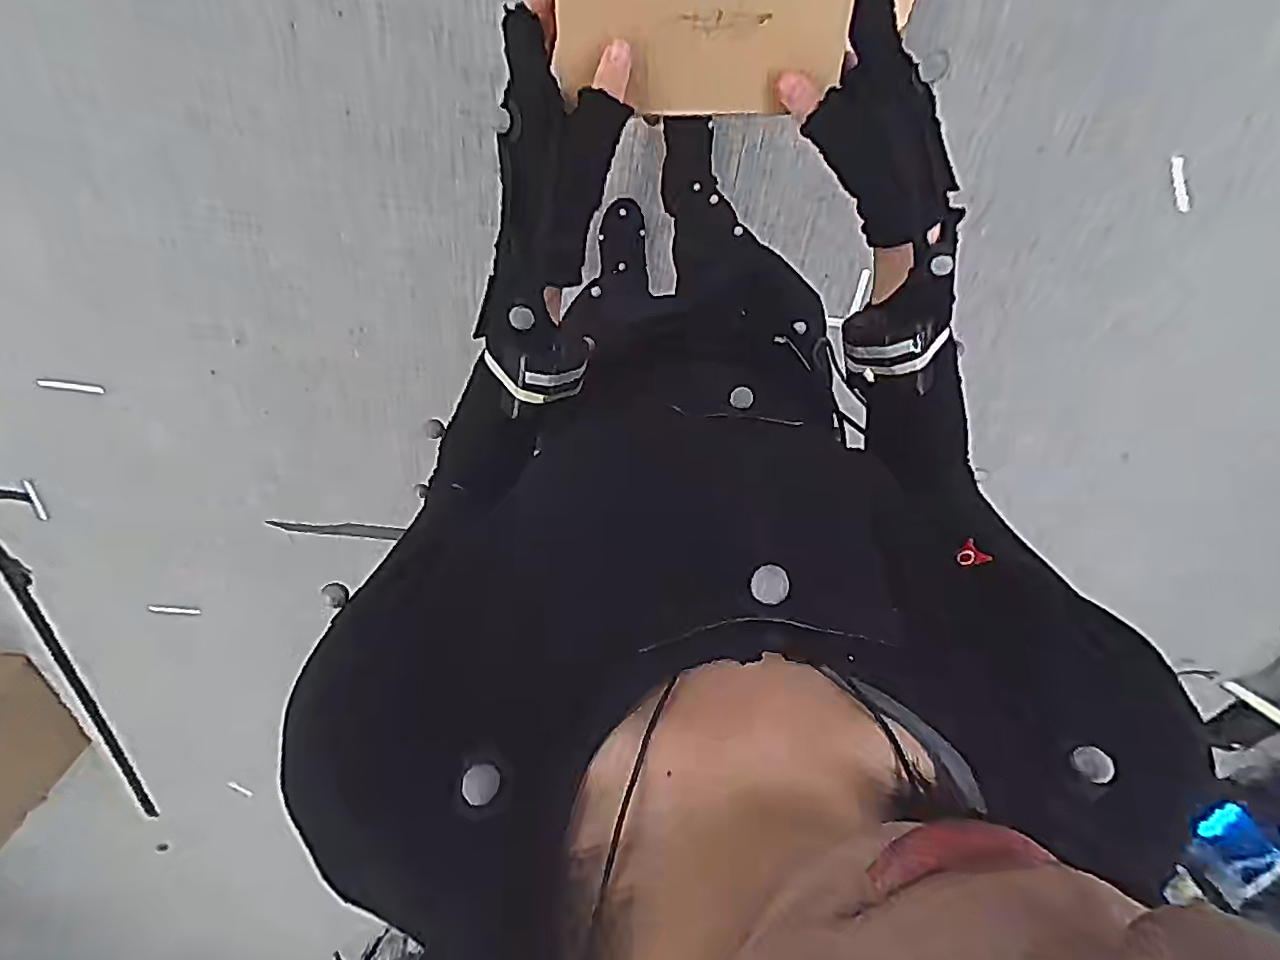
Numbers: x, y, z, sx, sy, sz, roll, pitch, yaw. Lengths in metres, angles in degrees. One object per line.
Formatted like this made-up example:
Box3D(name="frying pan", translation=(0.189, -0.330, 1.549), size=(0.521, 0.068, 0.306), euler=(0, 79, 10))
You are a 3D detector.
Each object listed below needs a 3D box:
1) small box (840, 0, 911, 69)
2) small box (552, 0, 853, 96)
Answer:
Box3D(name="small box", translation=(0.397, -0.911, 1.036), size=(0.179, 0.176, 0.168), euler=(8, 121, -9))
Box3D(name="small box", translation=(0.026, -0.342, 0.322), size=(0.168, 0.176, 0.179), euler=(-4, 130, -4))
